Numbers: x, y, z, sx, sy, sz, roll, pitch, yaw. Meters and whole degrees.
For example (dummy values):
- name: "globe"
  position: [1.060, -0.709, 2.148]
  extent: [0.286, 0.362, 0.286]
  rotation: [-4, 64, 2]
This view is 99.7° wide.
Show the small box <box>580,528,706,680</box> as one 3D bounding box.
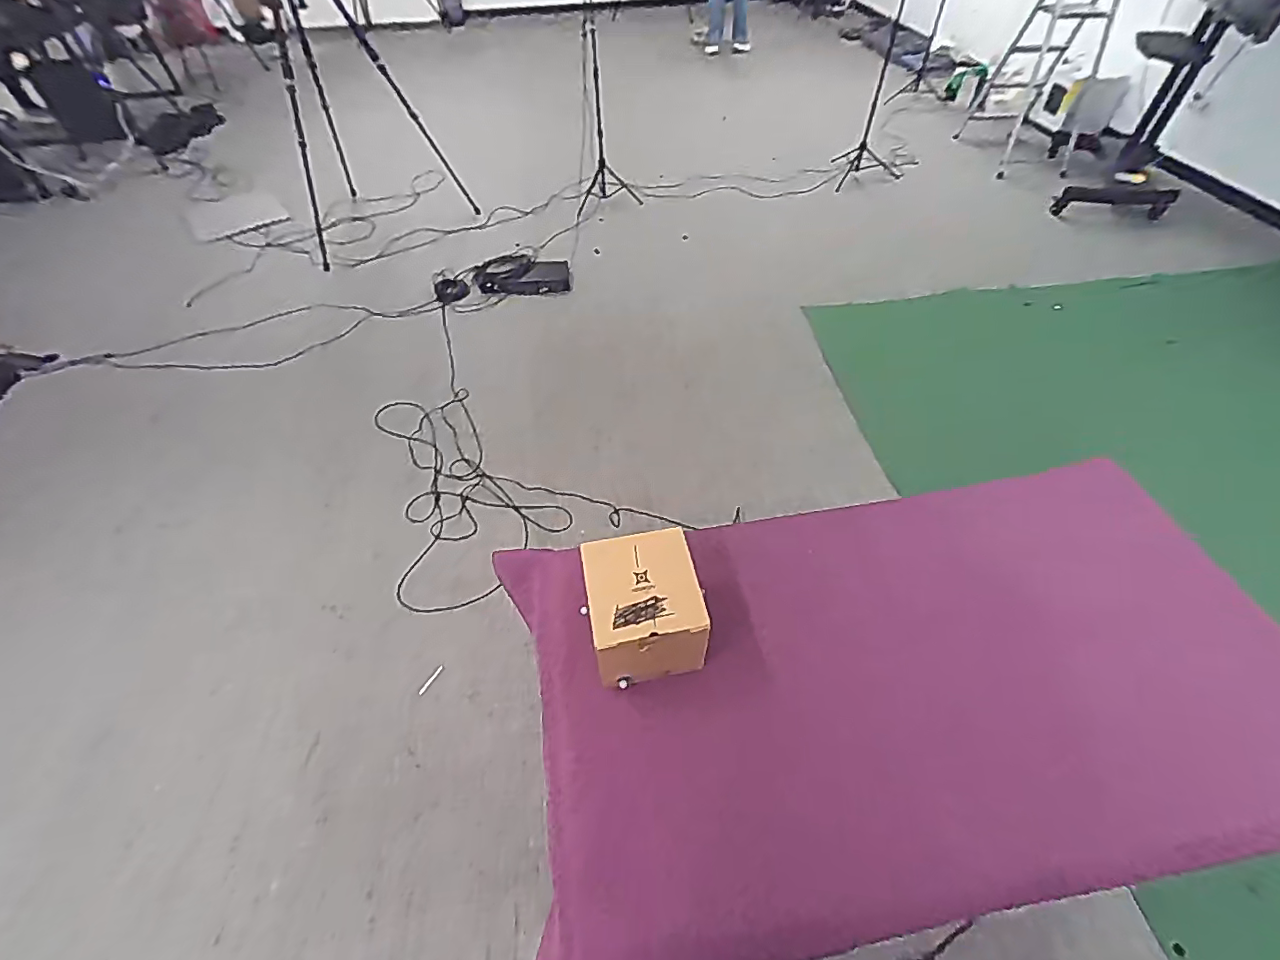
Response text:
- name: "small box"
  position: [0.001, 0.204, 0.863]
  extent: [0.168, 0.176, 0.179]
  rotation: [-9, 50, -7]
